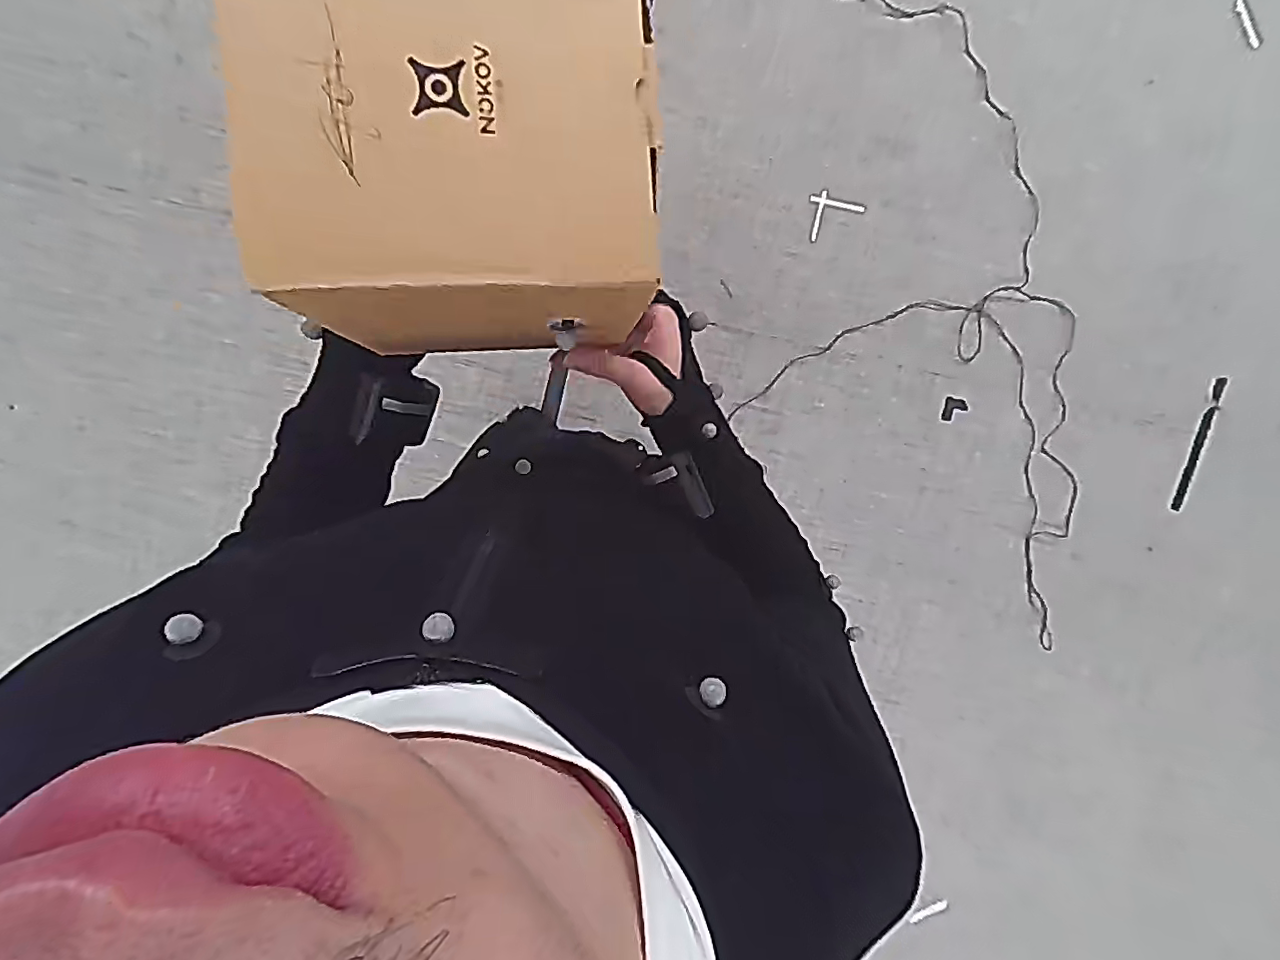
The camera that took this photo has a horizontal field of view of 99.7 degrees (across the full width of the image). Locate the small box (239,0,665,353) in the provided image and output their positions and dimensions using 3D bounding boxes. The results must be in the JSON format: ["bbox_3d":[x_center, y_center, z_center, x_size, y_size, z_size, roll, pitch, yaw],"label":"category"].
[{"bbox_3d":[-0.090,-0.171,0.317,0.179,0.176,0.168,-4,95,-8],"label":"small box"}]
